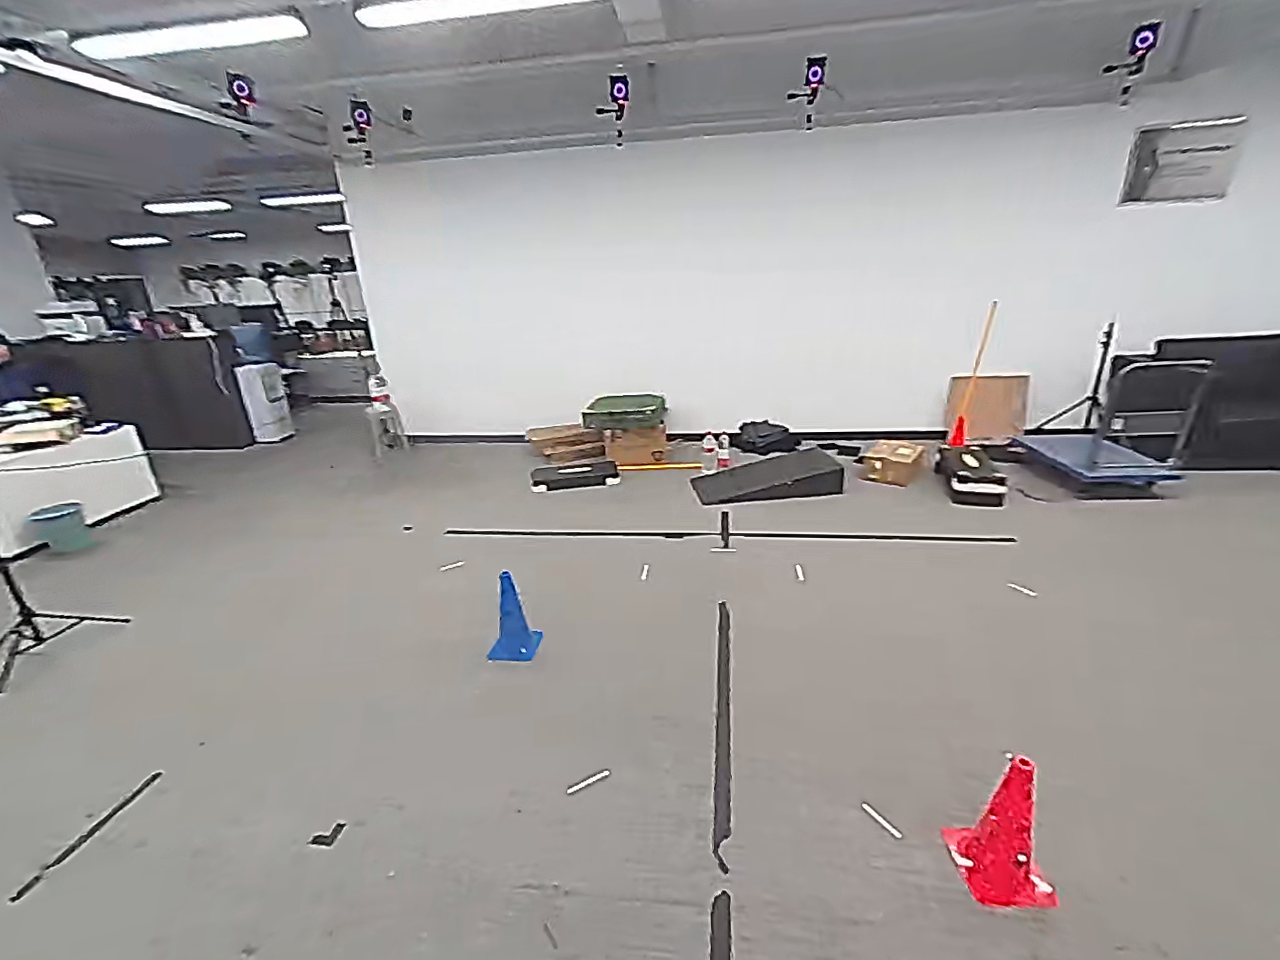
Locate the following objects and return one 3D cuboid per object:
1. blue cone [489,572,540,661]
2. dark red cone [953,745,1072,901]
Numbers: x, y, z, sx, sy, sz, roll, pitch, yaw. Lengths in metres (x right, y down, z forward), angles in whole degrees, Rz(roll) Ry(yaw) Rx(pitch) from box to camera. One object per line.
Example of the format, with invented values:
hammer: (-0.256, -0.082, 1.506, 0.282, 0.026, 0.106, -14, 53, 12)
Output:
blue cone: (-0.544, 0.557, 2.256, 0.192, 0.380, 0.193, -1, 21, 10)
dark red cone: (0.917, 0.799, 1.305, 0.201, 0.394, 0.202, -4, 20, 2)
